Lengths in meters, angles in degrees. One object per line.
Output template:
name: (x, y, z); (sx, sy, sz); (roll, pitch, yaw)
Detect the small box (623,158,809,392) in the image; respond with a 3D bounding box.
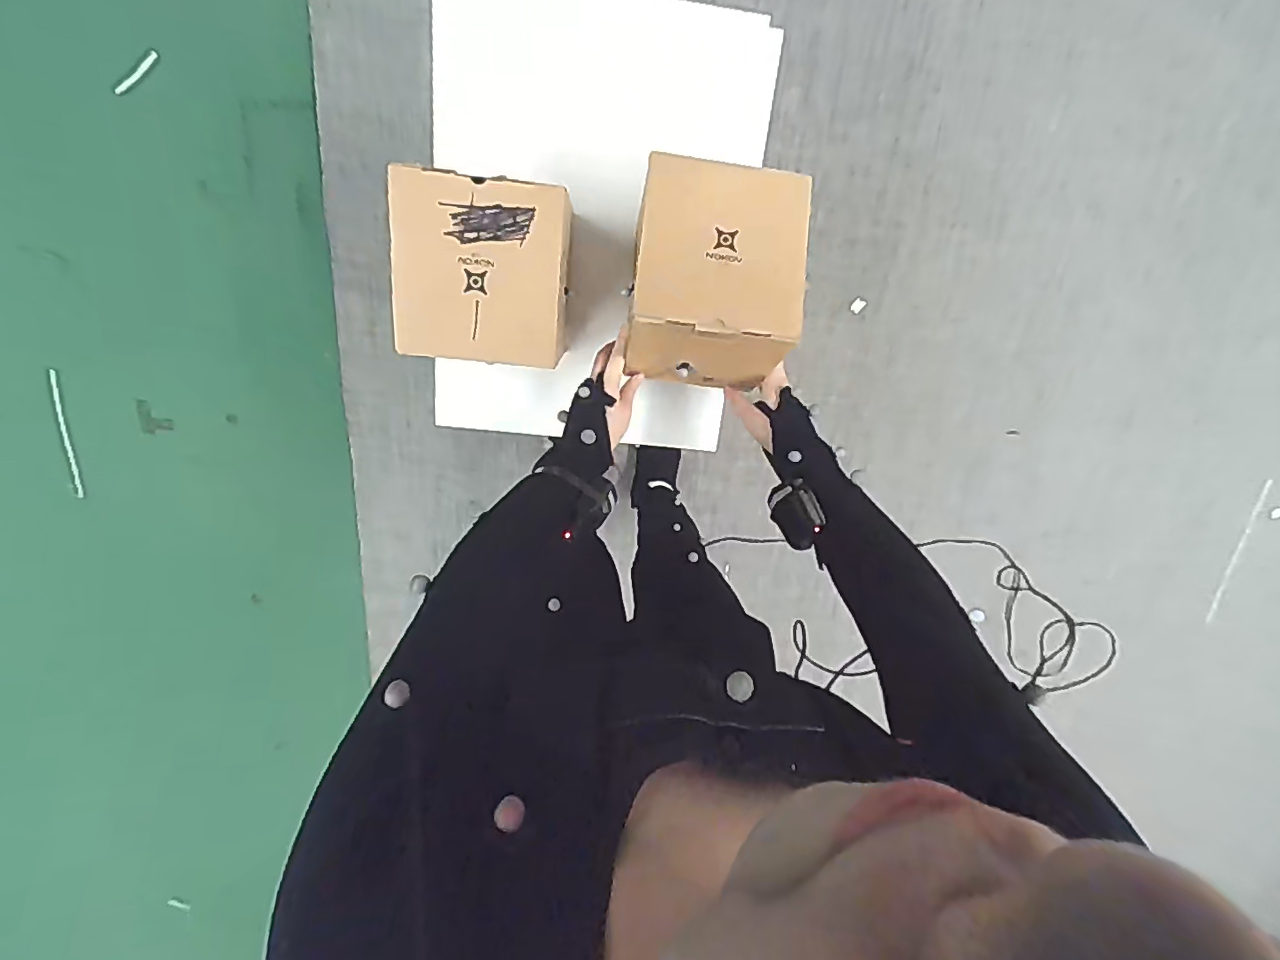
small box: (0.073, -0.213, 0.605); (0.168, 0.176, 0.179); (7, 84, -4)

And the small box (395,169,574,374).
small box: (-0.165, -0.227, 0.614); (0.168, 0.176, 0.179); (5, 108, -6)
